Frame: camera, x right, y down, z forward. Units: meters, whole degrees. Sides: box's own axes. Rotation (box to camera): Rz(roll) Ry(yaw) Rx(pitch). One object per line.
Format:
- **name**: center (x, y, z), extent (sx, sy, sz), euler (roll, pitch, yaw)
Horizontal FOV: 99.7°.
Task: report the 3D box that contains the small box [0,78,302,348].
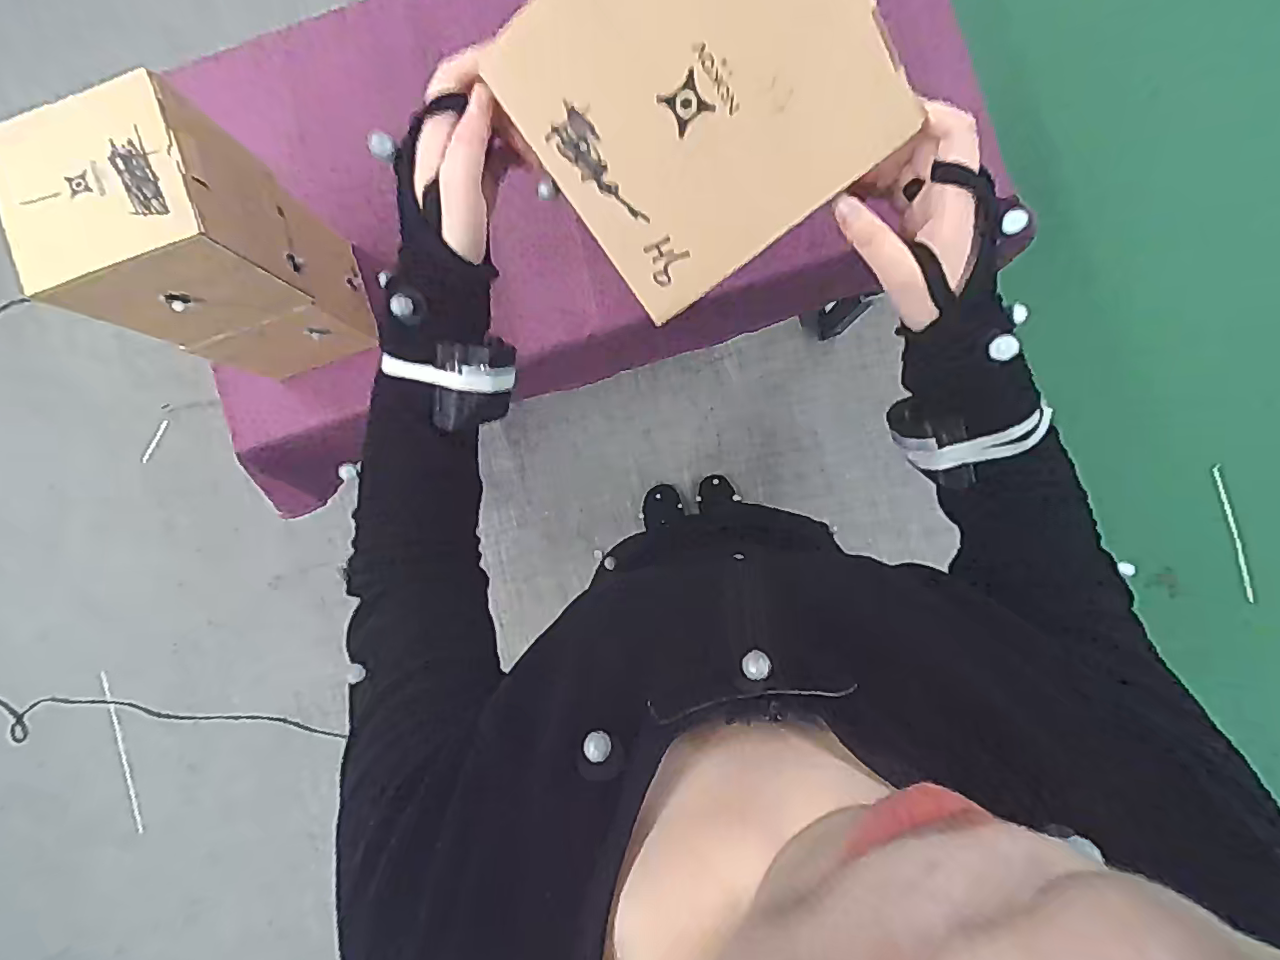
- **small box**: center (-0.496, -0.260, 0.570), extent (0.179, 0.176, 0.168), euler (-19, 88, 2)
